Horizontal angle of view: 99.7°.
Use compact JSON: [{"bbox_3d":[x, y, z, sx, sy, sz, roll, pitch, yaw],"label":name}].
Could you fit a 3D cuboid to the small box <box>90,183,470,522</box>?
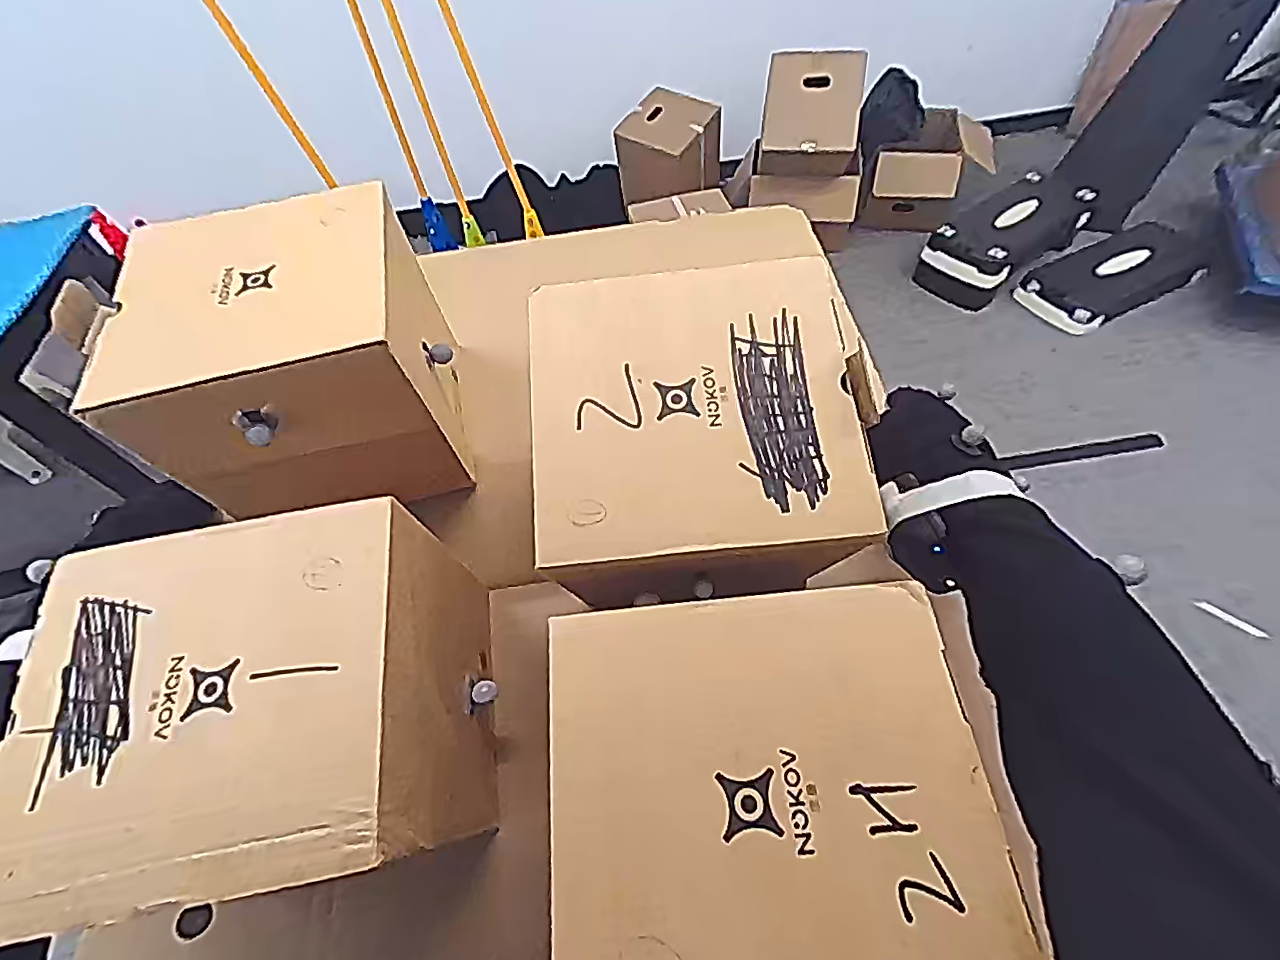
[{"bbox_3d":[-0.244,-0.089,0.421,0.179,0.176,0.168,-15,60,-3],"label":"small box"}]
